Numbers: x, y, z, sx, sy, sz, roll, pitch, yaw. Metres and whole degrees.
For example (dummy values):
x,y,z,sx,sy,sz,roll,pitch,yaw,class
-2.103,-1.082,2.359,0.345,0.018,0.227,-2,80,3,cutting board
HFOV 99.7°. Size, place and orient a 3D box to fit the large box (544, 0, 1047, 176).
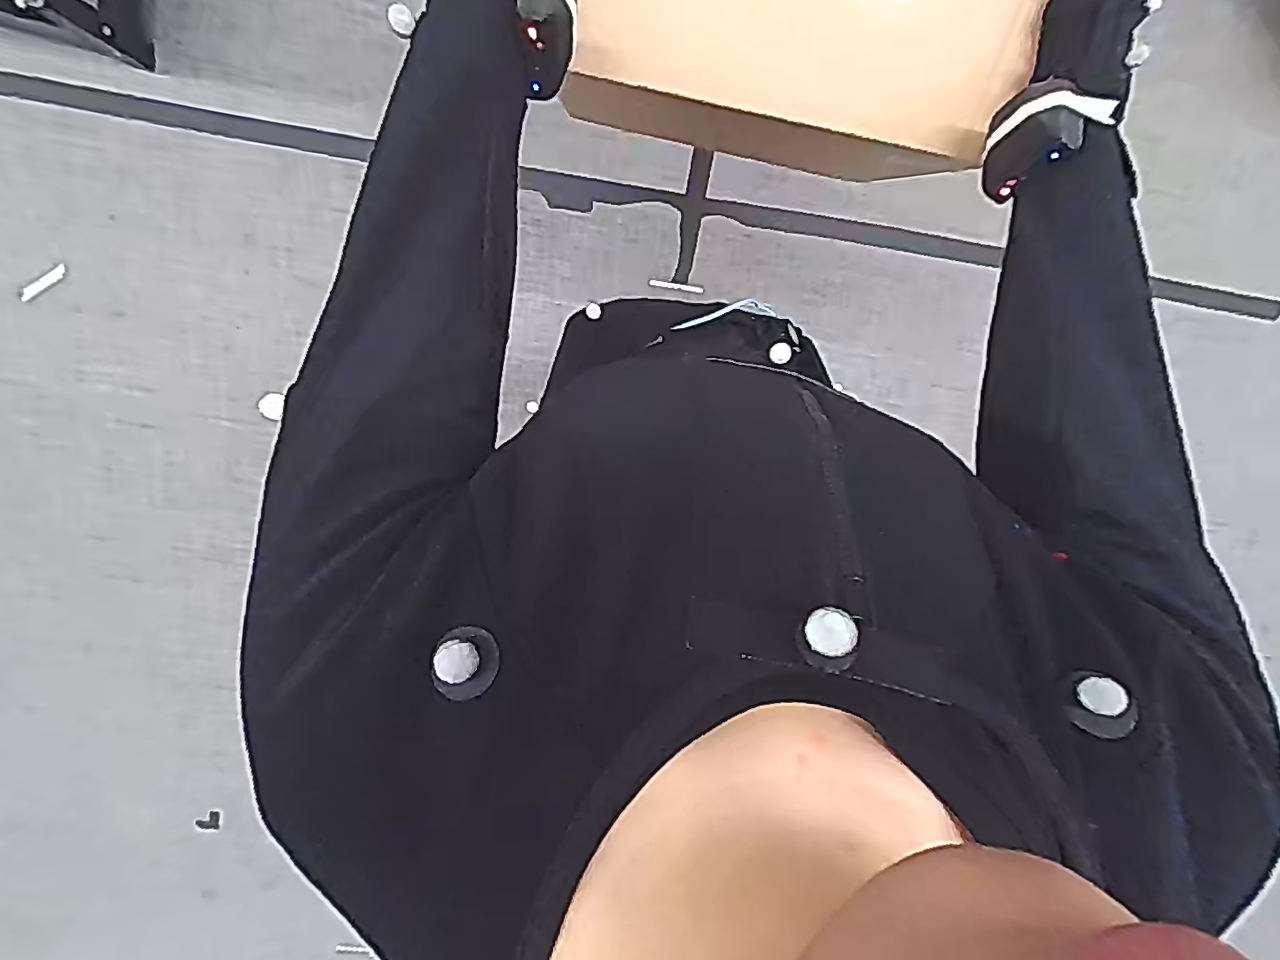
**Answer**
x,y,z,sx,sy,sz,roll,pitch,yaw,class
0.132,-0.513,0.531,0.408,0.320,0.320,8,117,-6,large box
